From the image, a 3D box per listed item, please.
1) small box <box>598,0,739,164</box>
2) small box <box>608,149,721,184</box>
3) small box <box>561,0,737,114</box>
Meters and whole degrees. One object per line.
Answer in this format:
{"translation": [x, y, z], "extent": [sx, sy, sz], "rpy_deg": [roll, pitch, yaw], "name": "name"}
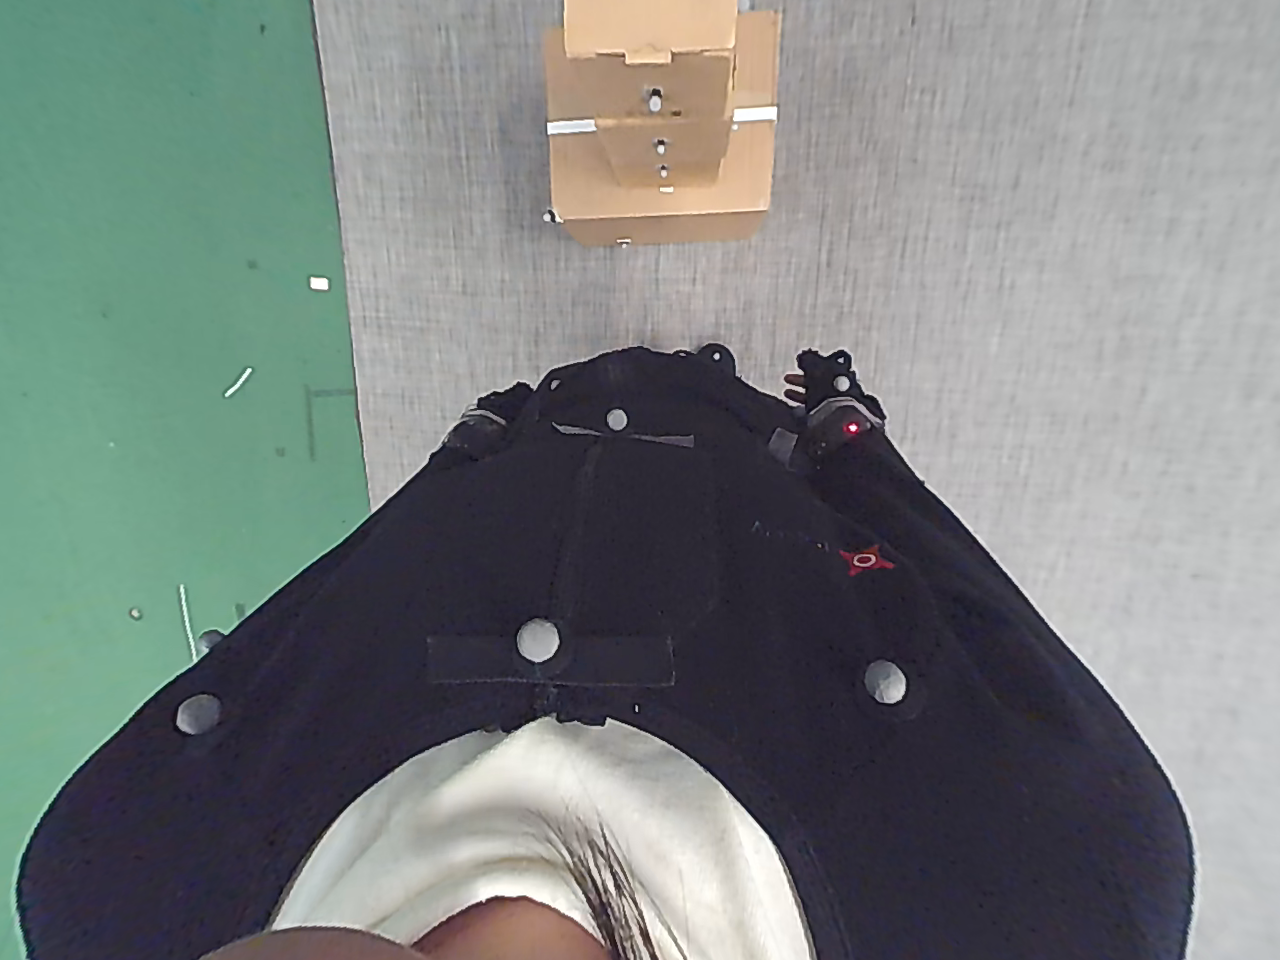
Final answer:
{"translation": [0.037, -0.544, 0.728], "extent": [0.179, 0.176, 0.168], "rpy_deg": [-2, 106, 6], "name": "small box"}
{"translation": [0.047, -0.594, 0.884], "extent": [0.179, 0.176, 0.168], "rpy_deg": [2, 106, 5], "name": "small box"}
{"translation": [0.018, -0.510, 0.569], "extent": [0.168, 0.176, 0.179], "rpy_deg": [5, 107, 6], "name": "small box"}
